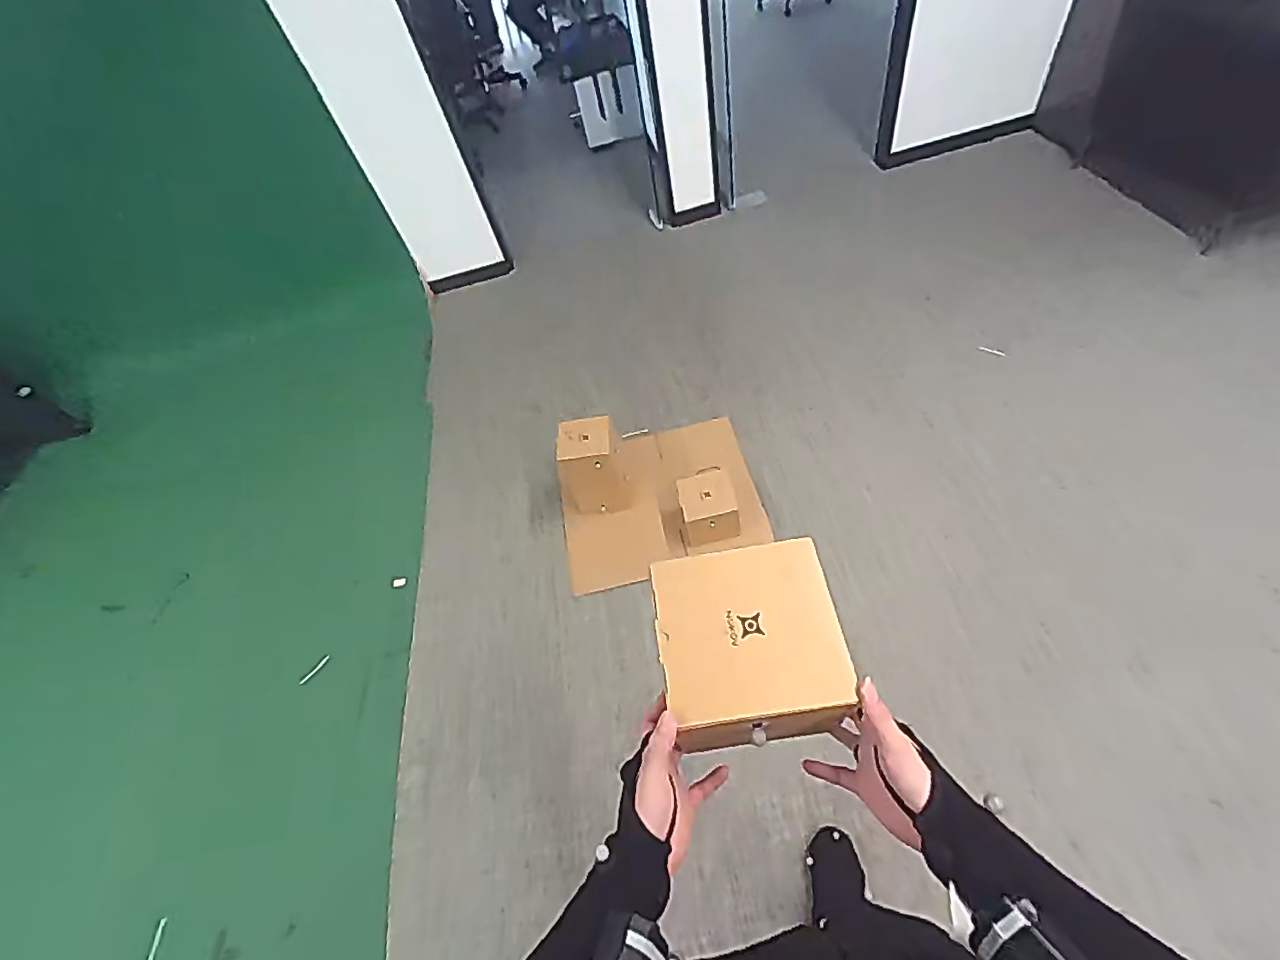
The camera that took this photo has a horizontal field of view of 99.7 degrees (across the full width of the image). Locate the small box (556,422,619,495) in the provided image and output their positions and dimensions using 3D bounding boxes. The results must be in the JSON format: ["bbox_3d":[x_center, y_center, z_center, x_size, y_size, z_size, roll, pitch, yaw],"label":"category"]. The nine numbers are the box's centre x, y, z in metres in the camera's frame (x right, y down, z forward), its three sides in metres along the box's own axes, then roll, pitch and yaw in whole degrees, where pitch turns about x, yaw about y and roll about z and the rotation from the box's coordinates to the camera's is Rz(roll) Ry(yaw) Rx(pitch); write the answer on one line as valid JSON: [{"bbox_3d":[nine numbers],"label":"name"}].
[{"bbox_3d":[-0.167,-0.068,1.801,0.179,0.176,0.168,-7,52,7],"label":"small box"}]

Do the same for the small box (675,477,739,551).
[{"bbox_3d":[0.223,0.118,1.788,0.179,0.176,0.168,-13,52,3],"label":"small box"}]

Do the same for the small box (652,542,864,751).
[{"bbox_3d":[0.116,0.188,0.590,0.179,0.176,0.168,-10,56,4],"label":"small box"}]

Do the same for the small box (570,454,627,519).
[{"bbox_3d":[-0.142,0.025,1.936,0.179,0.176,0.168,-7,52,7],"label":"small box"}]
